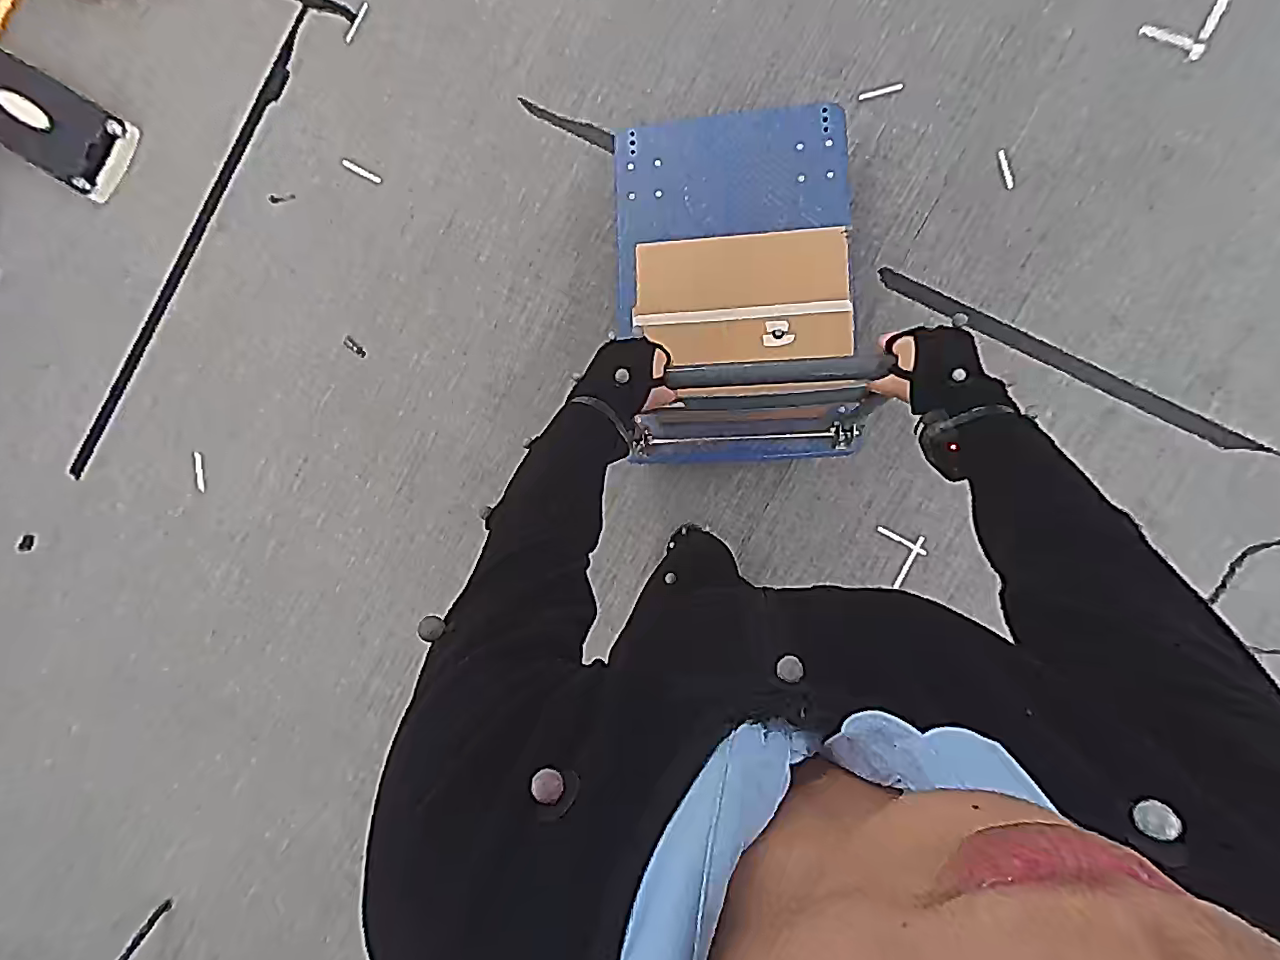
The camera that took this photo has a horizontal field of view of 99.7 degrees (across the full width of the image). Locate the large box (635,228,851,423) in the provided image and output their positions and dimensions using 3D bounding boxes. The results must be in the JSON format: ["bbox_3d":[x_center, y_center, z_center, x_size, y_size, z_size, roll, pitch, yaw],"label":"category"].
[{"bbox_3d":[0.208,-0.310,1.187,0.408,0.320,0.320,-2,88,6],"label":"large box"}]
